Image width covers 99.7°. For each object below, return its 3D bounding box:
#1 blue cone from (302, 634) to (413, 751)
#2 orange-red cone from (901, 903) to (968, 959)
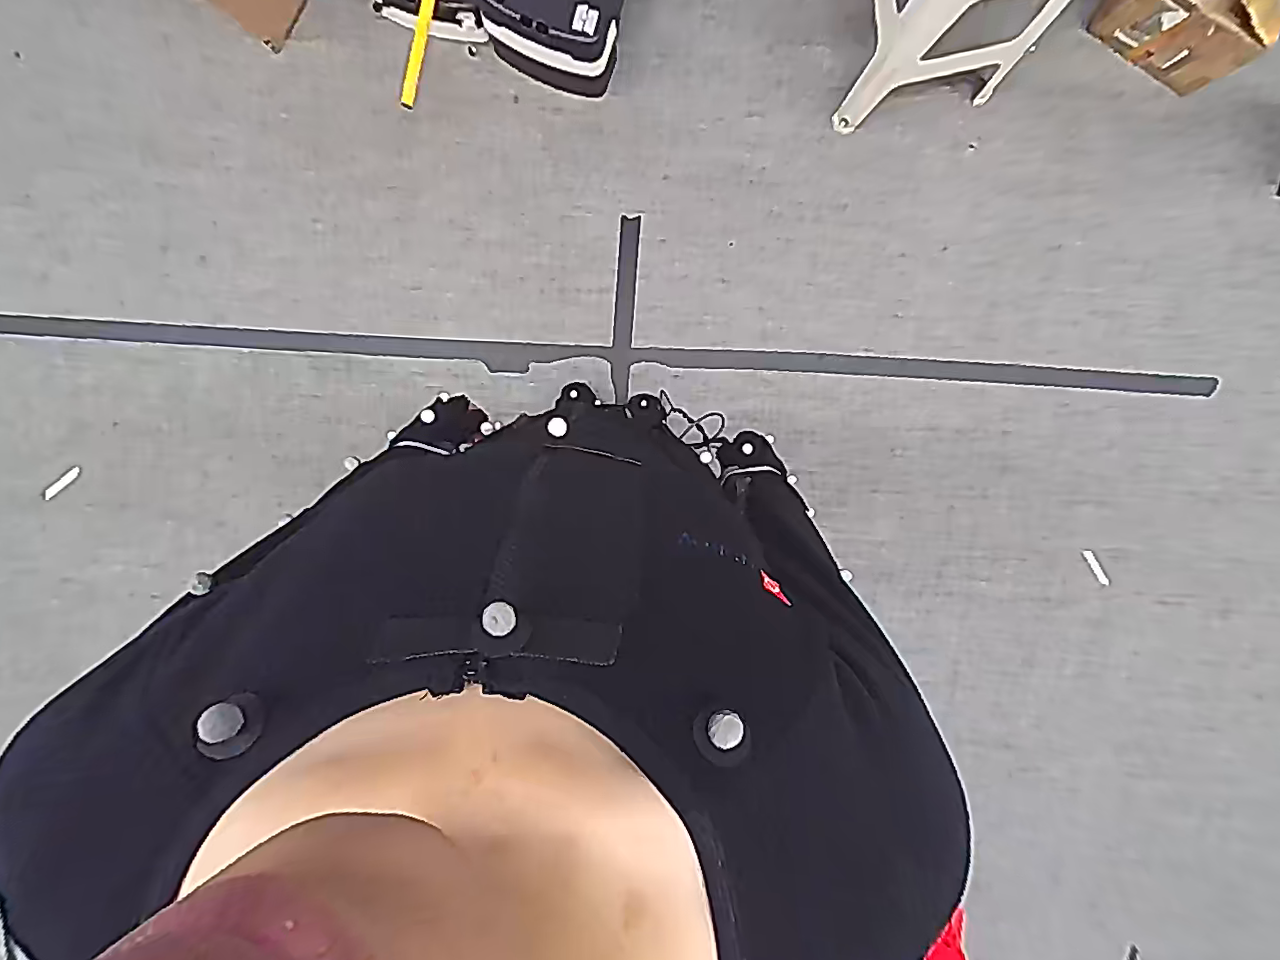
[{"bbox_3d":[-0.763,0.570,1.410,0.192,0.380,0.193,-1,101,0],"label":"blue cone"},{"bbox_3d":[0.954,1.492,1.592,0.198,0.360,0.199,-1,99,-1],"label":"orange-red cone"}]
